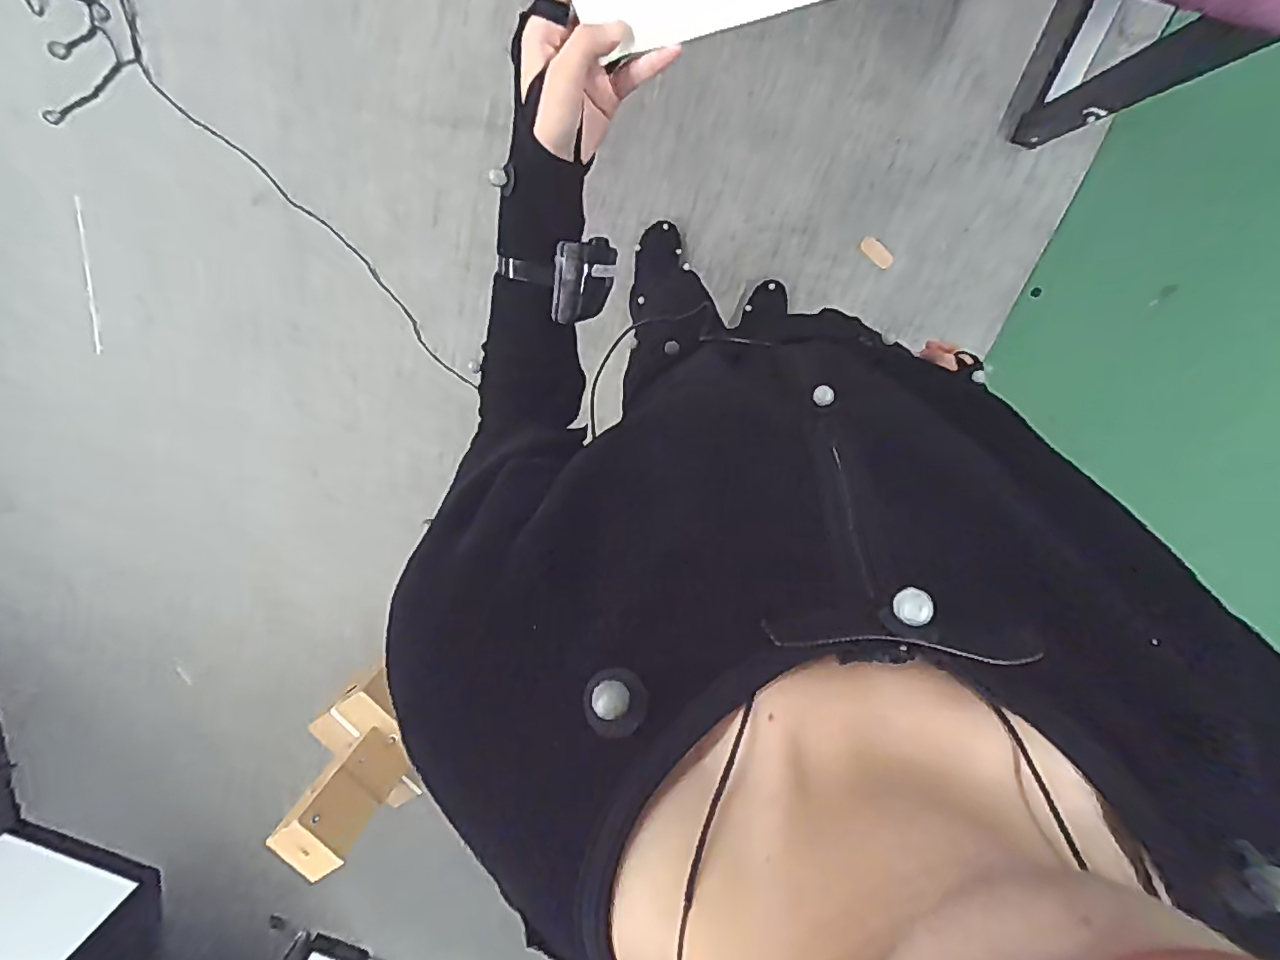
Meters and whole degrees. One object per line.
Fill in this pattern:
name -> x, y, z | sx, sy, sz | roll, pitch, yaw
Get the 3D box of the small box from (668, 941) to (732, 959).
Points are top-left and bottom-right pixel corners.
small box -> 0.133, 1.199, 1.220 | 0.168, 0.176, 0.179 | 9, 109, 7

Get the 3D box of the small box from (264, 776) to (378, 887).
small box -> -0.874, 0.968, 1.498 | 0.168, 0.176, 0.179 | -38, 98, 20
